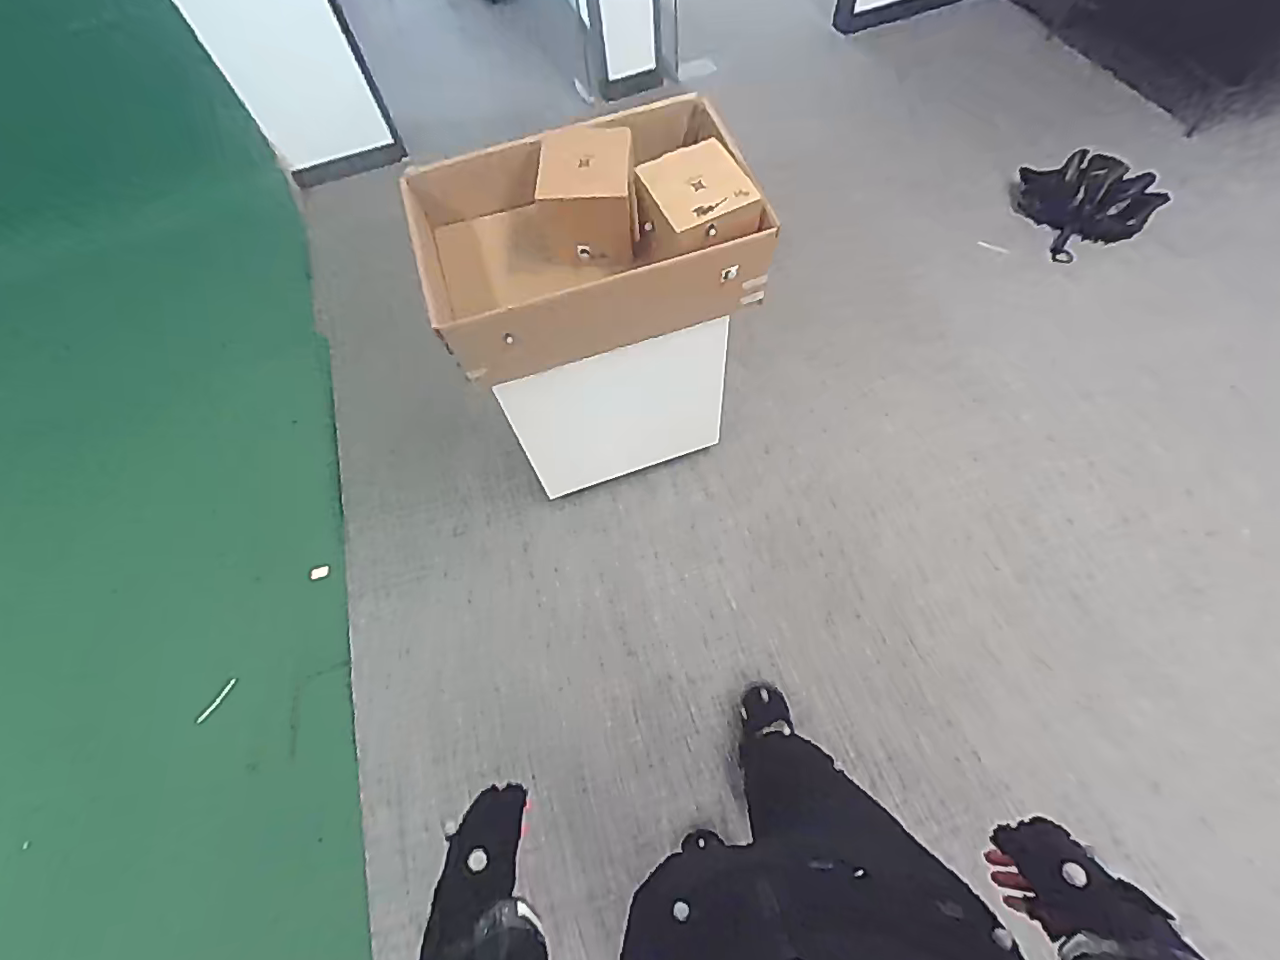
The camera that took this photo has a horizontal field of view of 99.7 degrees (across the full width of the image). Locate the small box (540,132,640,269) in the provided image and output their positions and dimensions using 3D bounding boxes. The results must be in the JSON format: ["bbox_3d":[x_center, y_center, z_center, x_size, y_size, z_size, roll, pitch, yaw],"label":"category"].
[{"bbox_3d":[-0.089,-0.539,1.054,0.168,0.176,0.179,0,69,5],"label":"small box"}]
